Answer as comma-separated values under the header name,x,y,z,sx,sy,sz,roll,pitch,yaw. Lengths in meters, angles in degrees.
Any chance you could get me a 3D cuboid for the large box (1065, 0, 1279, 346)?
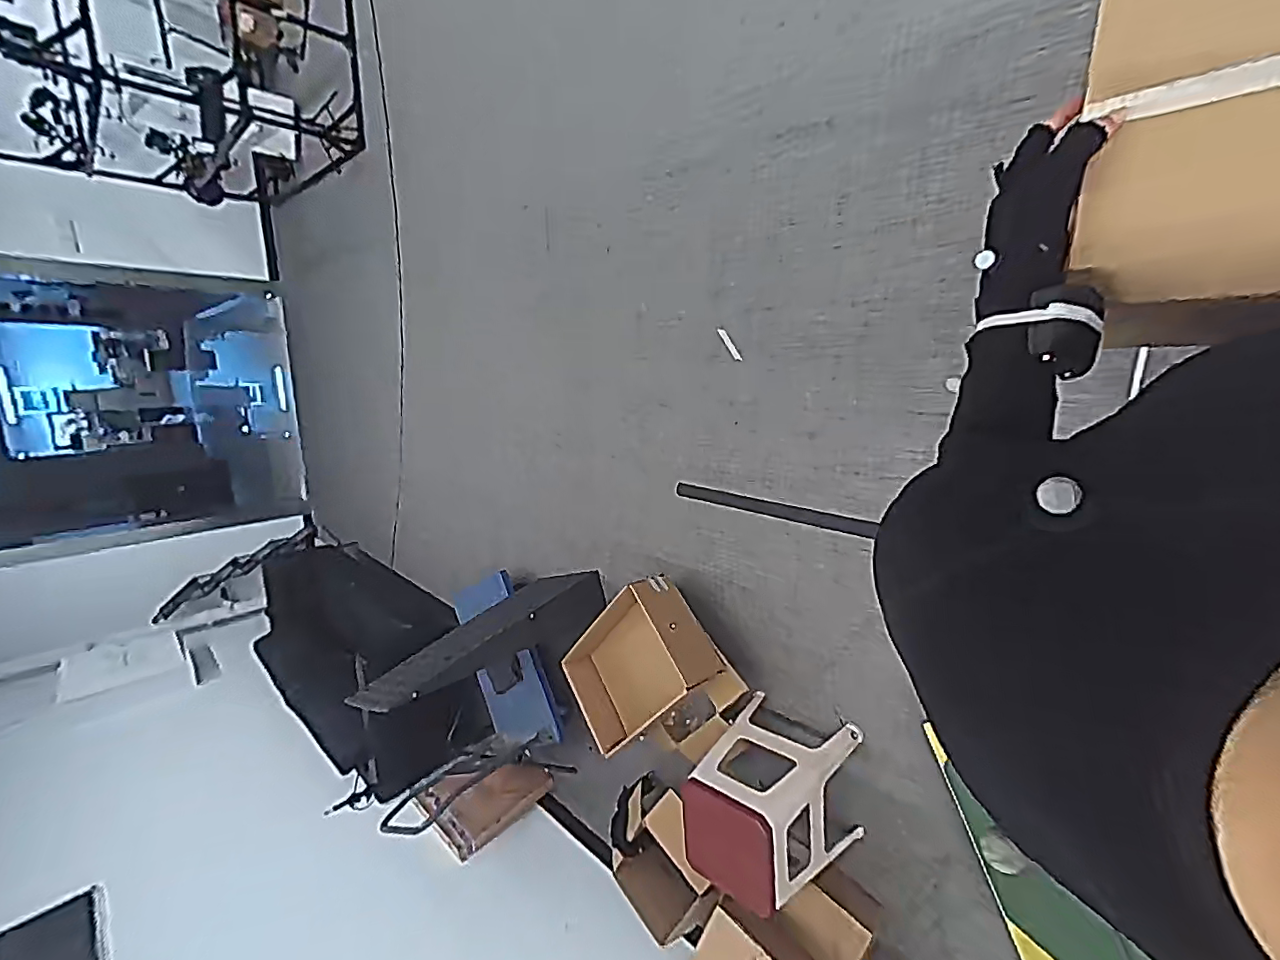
name,x,y,z,sx,sy,sz,roll,pitch,yaw
large box,0.635,-0.293,0.449,0.408,0.320,0.320,11,101,42
